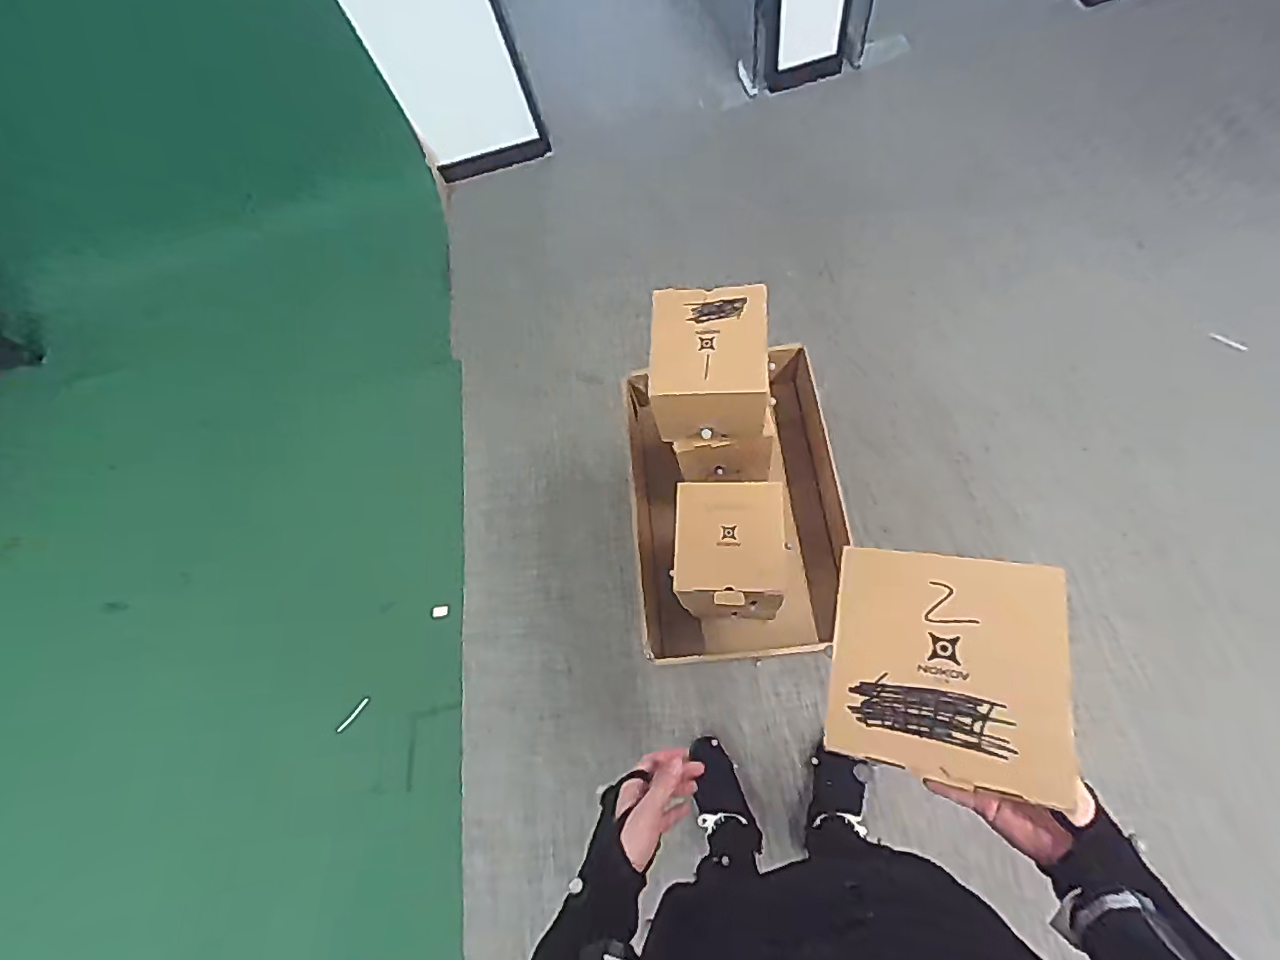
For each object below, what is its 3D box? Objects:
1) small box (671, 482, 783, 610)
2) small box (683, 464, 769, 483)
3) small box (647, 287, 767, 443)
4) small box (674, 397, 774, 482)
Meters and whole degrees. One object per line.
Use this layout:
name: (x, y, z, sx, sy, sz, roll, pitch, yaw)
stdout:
small box: (0.148, 0.114, 0.891, 0.168, 0.176, 0.179, 0, 67, 11)
small box: (0.171, -0.058, 1.137, 0.168, 0.176, 0.179, -9, 69, 8)
small box: (0.108, -0.171, 0.837, 0.168, 0.176, 0.179, 0, 71, 11)
small box: (0.142, -0.112, 0.987, 0.168, 0.176, 0.179, -9, 70, 7)
